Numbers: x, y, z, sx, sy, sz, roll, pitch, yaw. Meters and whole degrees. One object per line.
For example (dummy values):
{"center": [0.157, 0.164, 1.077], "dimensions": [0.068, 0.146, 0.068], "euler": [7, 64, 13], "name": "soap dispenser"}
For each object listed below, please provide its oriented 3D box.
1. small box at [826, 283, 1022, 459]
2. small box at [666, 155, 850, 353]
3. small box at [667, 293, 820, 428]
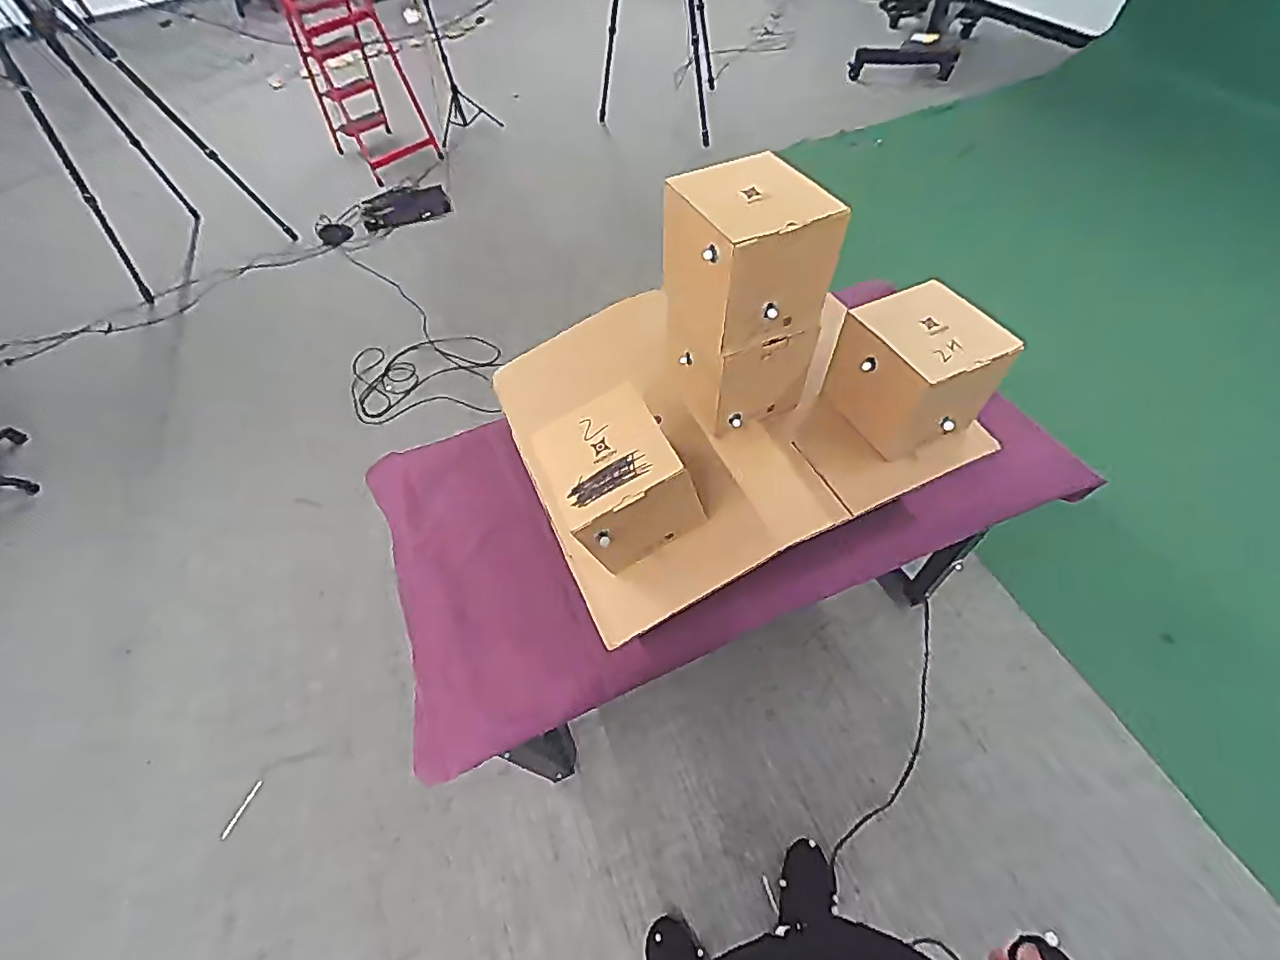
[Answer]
{"center": [0.412, -0.163, 0.824], "dimensions": [0.168, 0.176, 0.179], "euler": [-22, 57, -12], "name": "small box"}
{"center": [0.143, -0.304, 0.734], "dimensions": [0.168, 0.176, 0.179], "euler": [-22, 57, -14], "name": "small box"}
{"center": [0.153, -0.204, 0.862], "dimensions": [0.168, 0.176, 0.179], "euler": [-22, 55, -14], "name": "small box"}
